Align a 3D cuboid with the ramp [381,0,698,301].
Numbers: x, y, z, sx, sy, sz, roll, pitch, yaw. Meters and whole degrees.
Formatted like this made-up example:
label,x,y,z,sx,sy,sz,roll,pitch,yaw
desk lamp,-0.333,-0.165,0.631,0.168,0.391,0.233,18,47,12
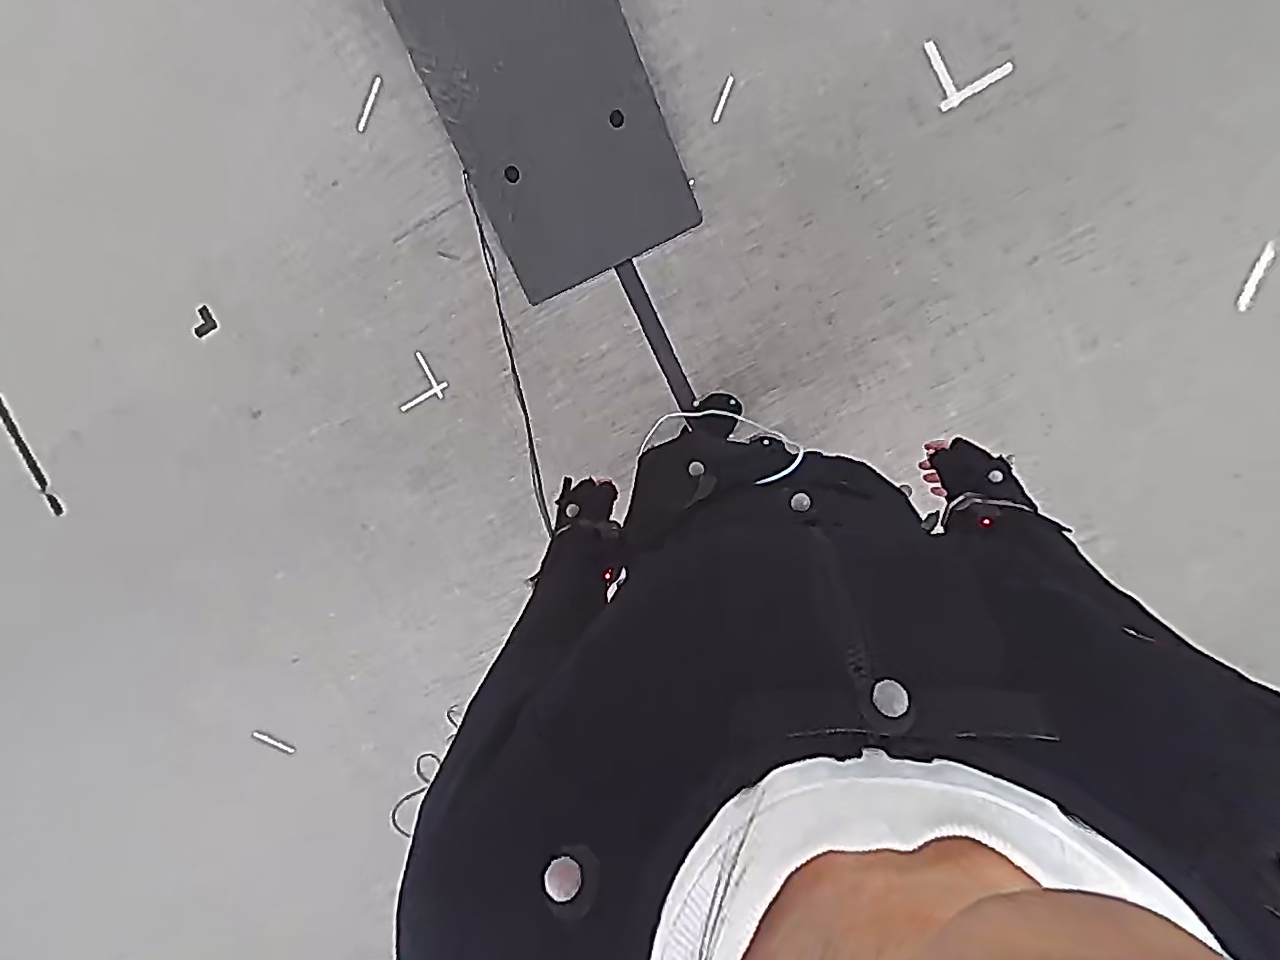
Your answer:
label,x,y,z,sx,sy,sz,roll,pitch,yaw
ramp,-0.274,-0.994,1.258,0.509,0.206,0.991,-25,95,7
